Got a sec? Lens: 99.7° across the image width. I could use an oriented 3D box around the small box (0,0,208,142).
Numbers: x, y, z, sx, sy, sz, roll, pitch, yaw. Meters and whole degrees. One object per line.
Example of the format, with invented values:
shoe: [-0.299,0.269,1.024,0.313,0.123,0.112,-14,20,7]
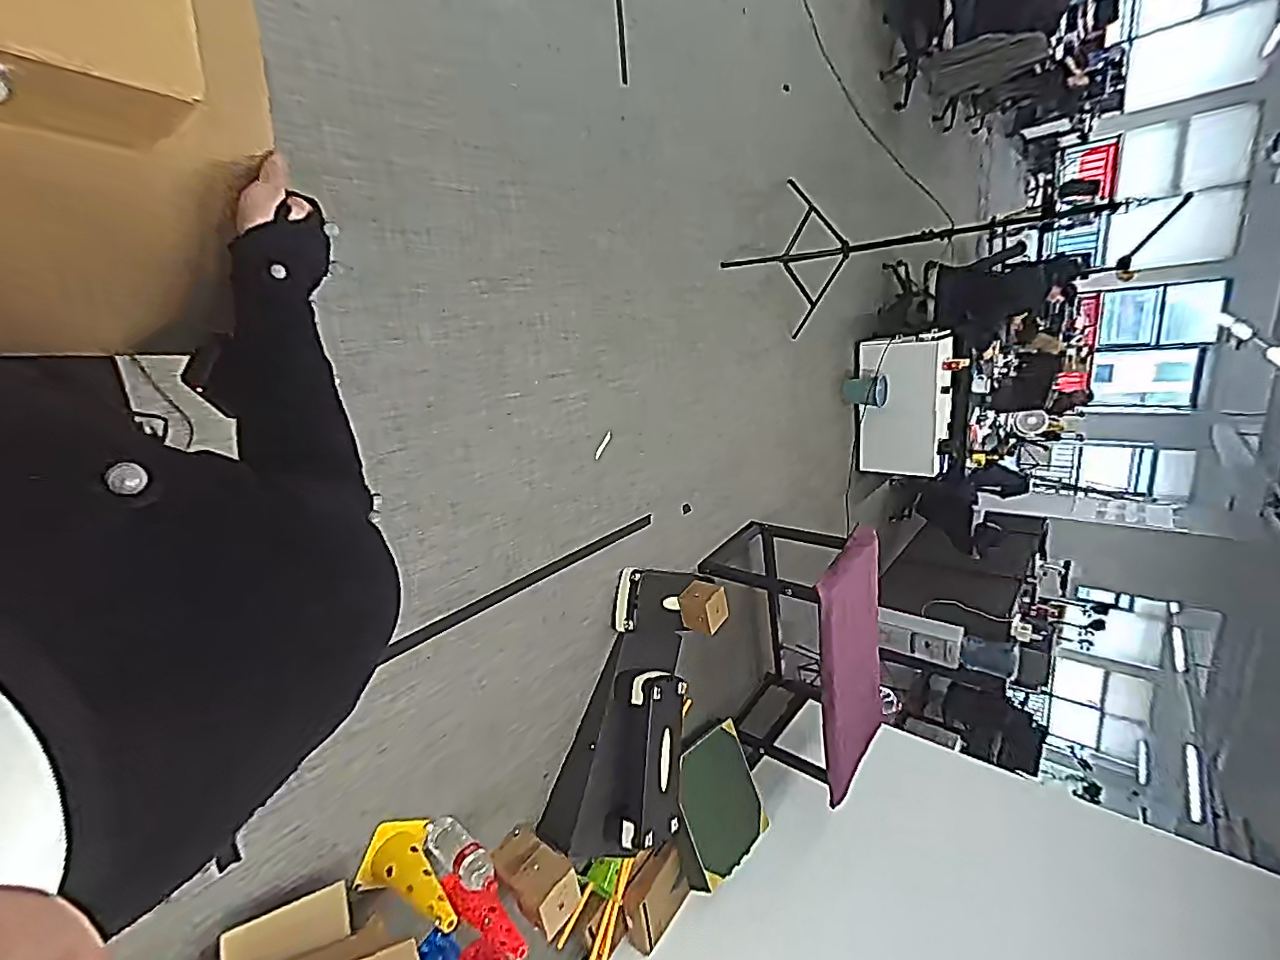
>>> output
small box: [-0.408,-0.333,0.335,0.179,0.176,0.168,-14,111,-47]
